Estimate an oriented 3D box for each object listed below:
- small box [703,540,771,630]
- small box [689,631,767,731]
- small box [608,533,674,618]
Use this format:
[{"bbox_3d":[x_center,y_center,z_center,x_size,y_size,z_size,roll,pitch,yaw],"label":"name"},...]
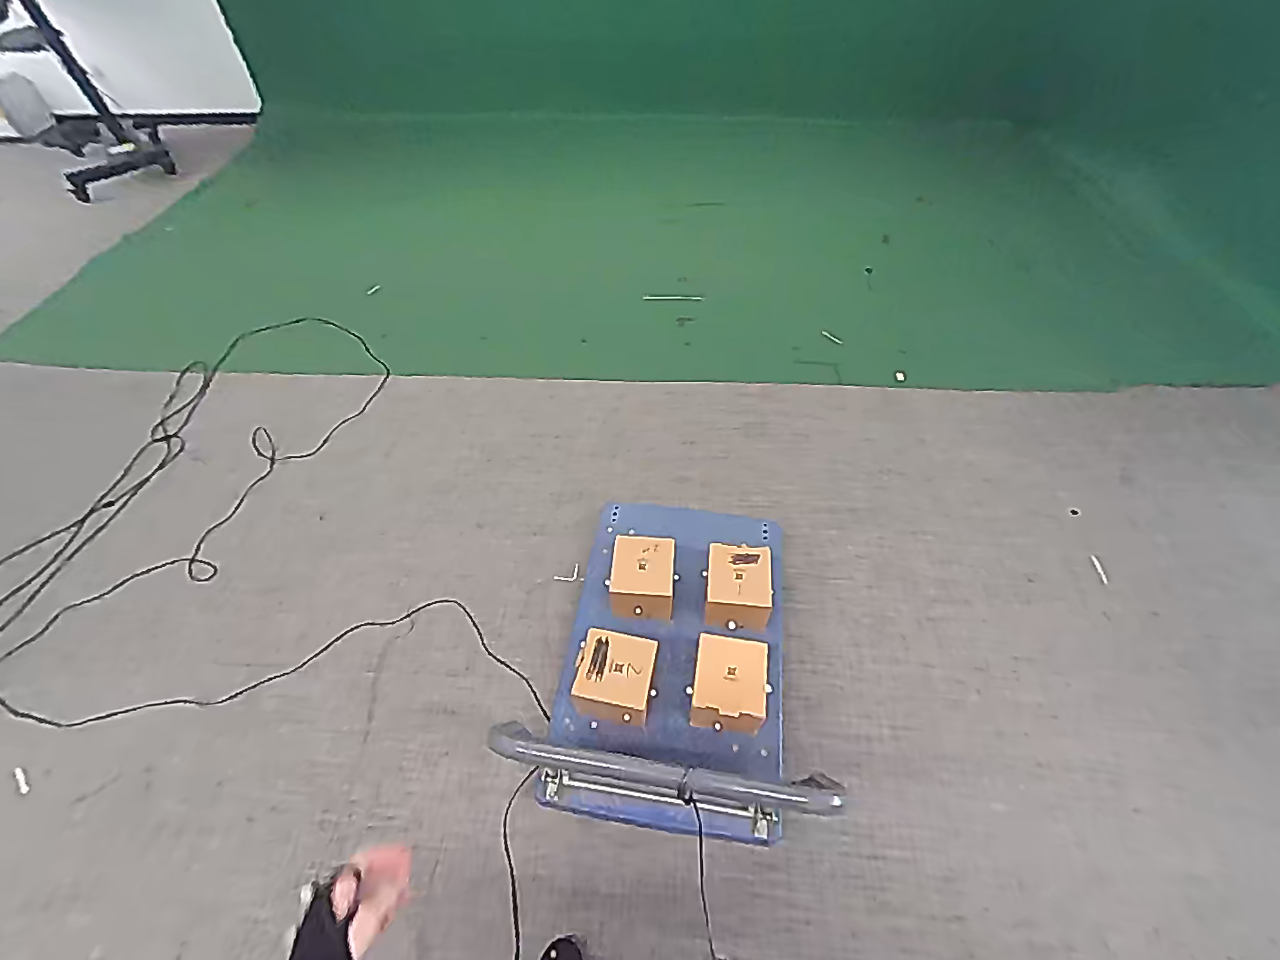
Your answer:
[{"bbox_3d":[0.262,0.289,1.483,0.168,0.176,0.179,4,53,6],"label":"small box"},{"bbox_3d":[0.213,0.495,1.328,0.168,0.176,0.179,7,53,6],"label":"small box"},{"bbox_3d":[0.007,0.268,1.506,0.168,0.176,0.179,4,52,3],"label":"small box"}]
